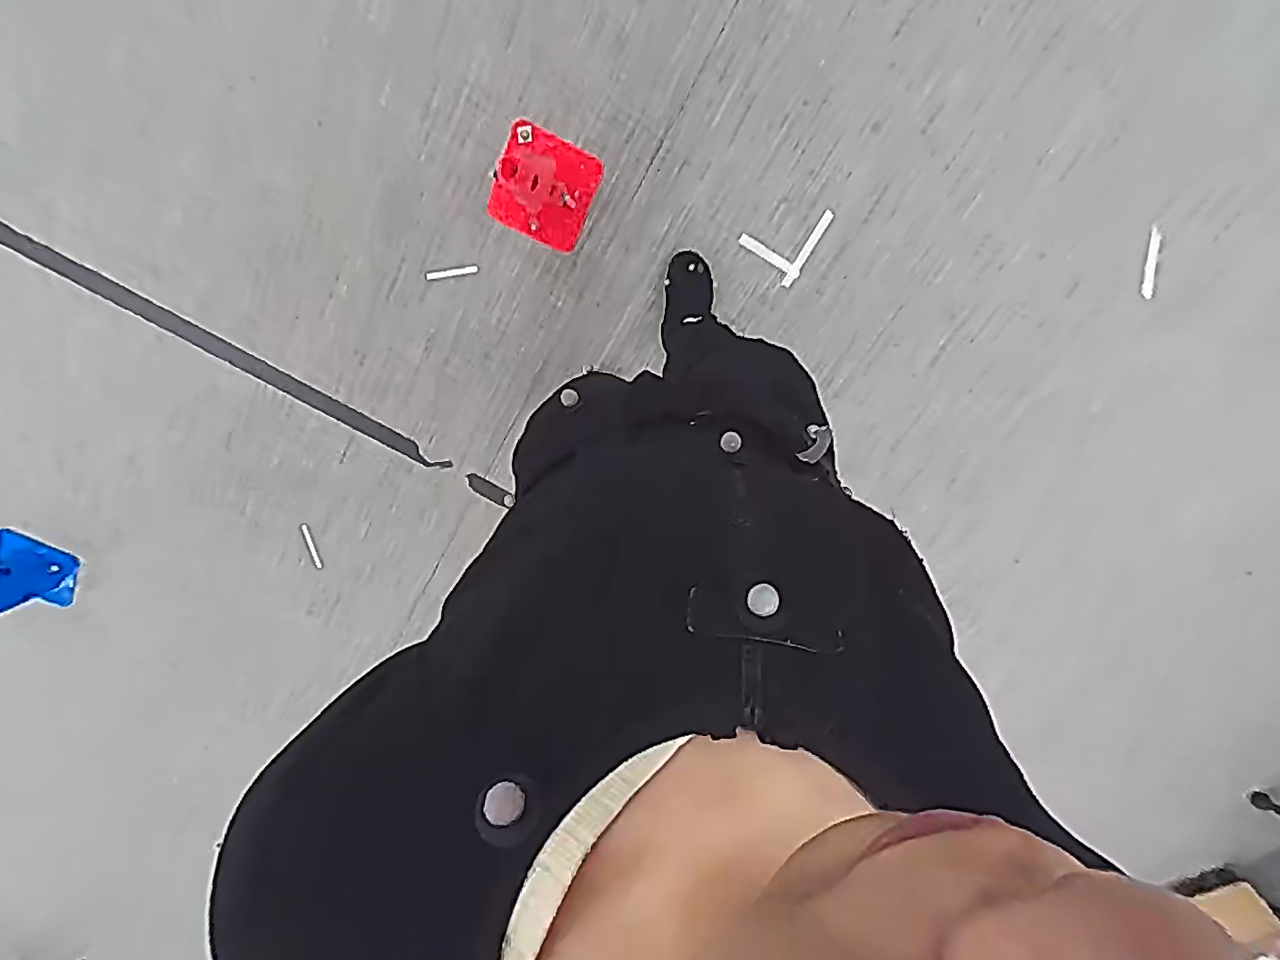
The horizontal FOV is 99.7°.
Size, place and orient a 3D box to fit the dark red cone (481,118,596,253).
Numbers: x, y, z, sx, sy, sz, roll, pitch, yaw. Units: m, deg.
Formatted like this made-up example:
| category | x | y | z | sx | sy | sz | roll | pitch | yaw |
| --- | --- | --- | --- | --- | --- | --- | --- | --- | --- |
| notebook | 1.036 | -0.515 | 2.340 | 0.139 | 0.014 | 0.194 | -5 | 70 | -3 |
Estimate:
| category | x | y | z | sx | sy | sz | roll | pitch | yaw |
| --- | --- | --- | --- | --- | --- | --- | --- | --- | --- |
| dark red cone | -0.205 | -0.529 | 0.960 | 0.202 | 0.394 | 0.201 | 22 | 113 | -10 |

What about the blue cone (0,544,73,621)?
| category | x | y | z | sx | sy | sz | roll | pitch | yaw |
| --- | --- | --- | --- | --- | --- | --- | --- | --- | --- |
| blue cone | -1.683 | 0.342 | 1.352 | 0.193 | 0.380 | 0.192 | 30 | 111 | -13 |
